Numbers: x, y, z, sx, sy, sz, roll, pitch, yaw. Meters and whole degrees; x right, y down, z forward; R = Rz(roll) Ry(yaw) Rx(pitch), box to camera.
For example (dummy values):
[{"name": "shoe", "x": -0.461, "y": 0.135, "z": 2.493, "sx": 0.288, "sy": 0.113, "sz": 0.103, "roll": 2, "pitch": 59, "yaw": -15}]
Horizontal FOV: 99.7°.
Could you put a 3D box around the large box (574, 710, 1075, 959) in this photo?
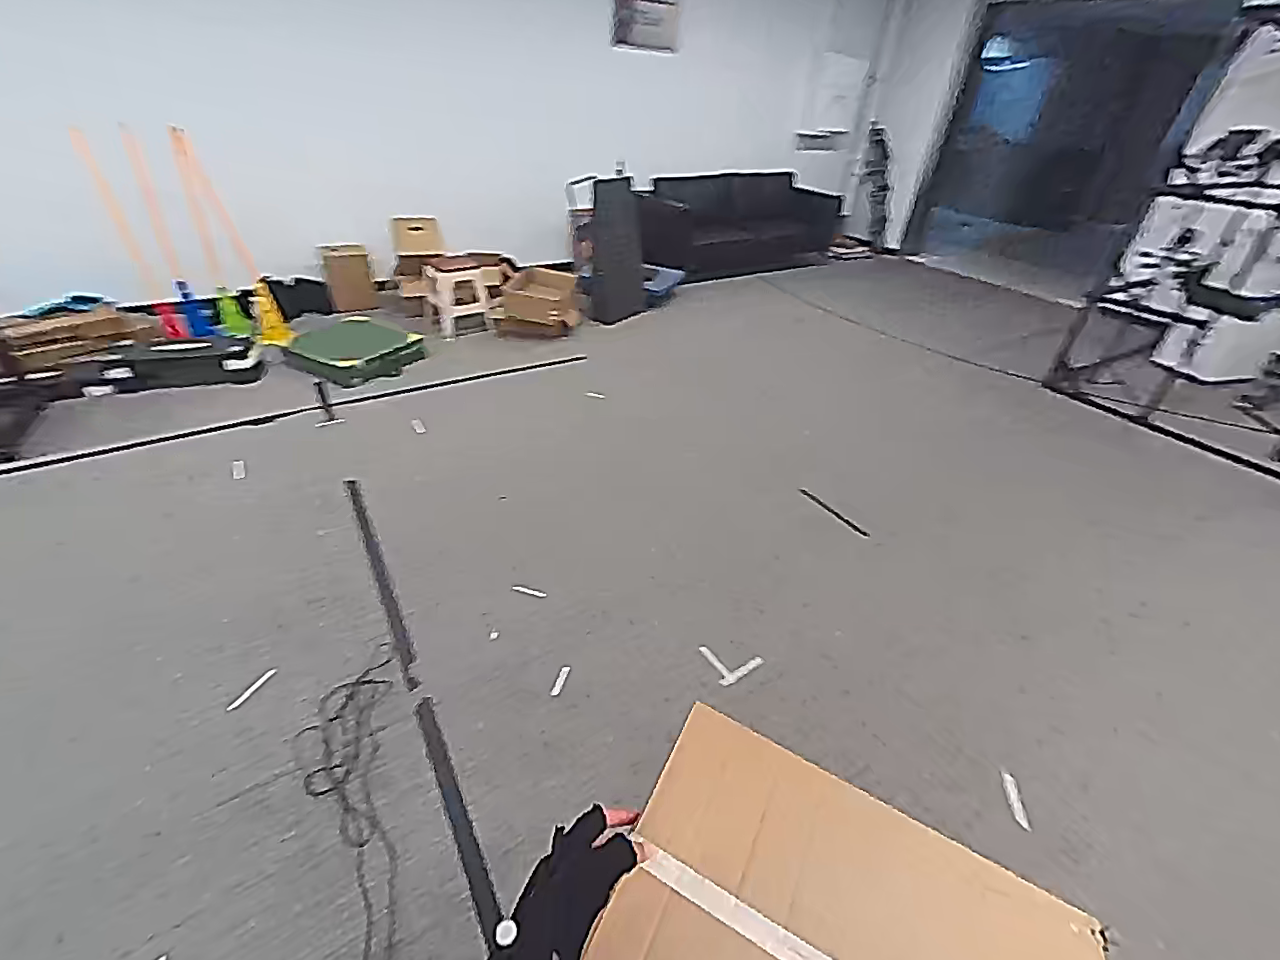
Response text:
[{"name": "large box", "x": 0.147, "y": 0.525, "z": 0.563, "sx": 0.408, "sy": 0.320, "sz": 0.320, "roll": 23, "pitch": 47, "yaw": 16}]
